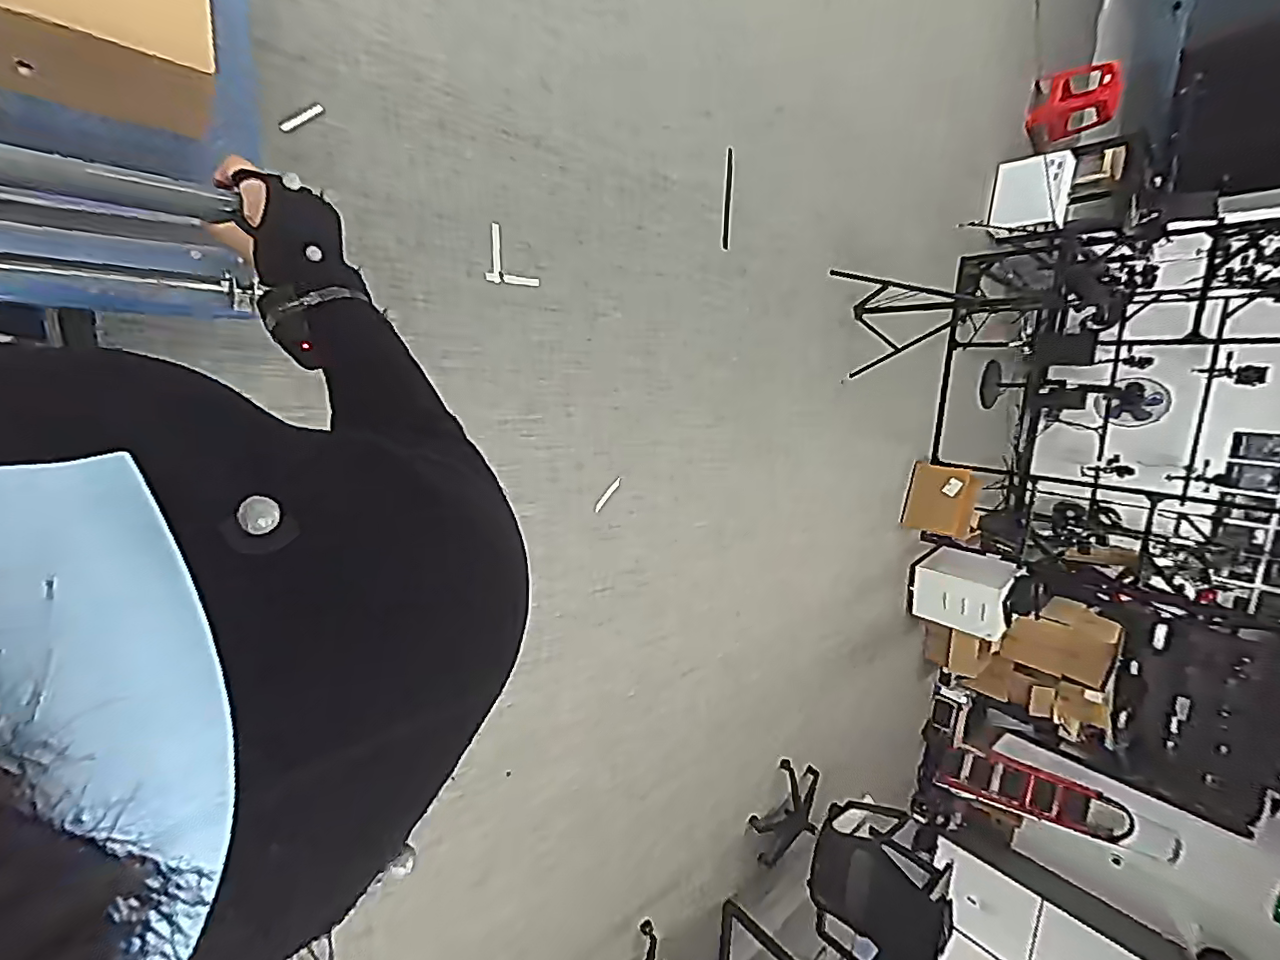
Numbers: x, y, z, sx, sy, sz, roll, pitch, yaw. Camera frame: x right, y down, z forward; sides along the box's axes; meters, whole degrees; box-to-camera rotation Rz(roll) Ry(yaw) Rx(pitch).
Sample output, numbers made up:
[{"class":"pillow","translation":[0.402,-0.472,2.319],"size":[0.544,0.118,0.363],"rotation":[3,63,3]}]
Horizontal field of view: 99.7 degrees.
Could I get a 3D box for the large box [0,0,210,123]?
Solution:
[{"class":"large box","translation":[-0.844,-0.740,0.712],"size":[0.408,0.320,0.320],"rotation":[-6,103,-40]}]
